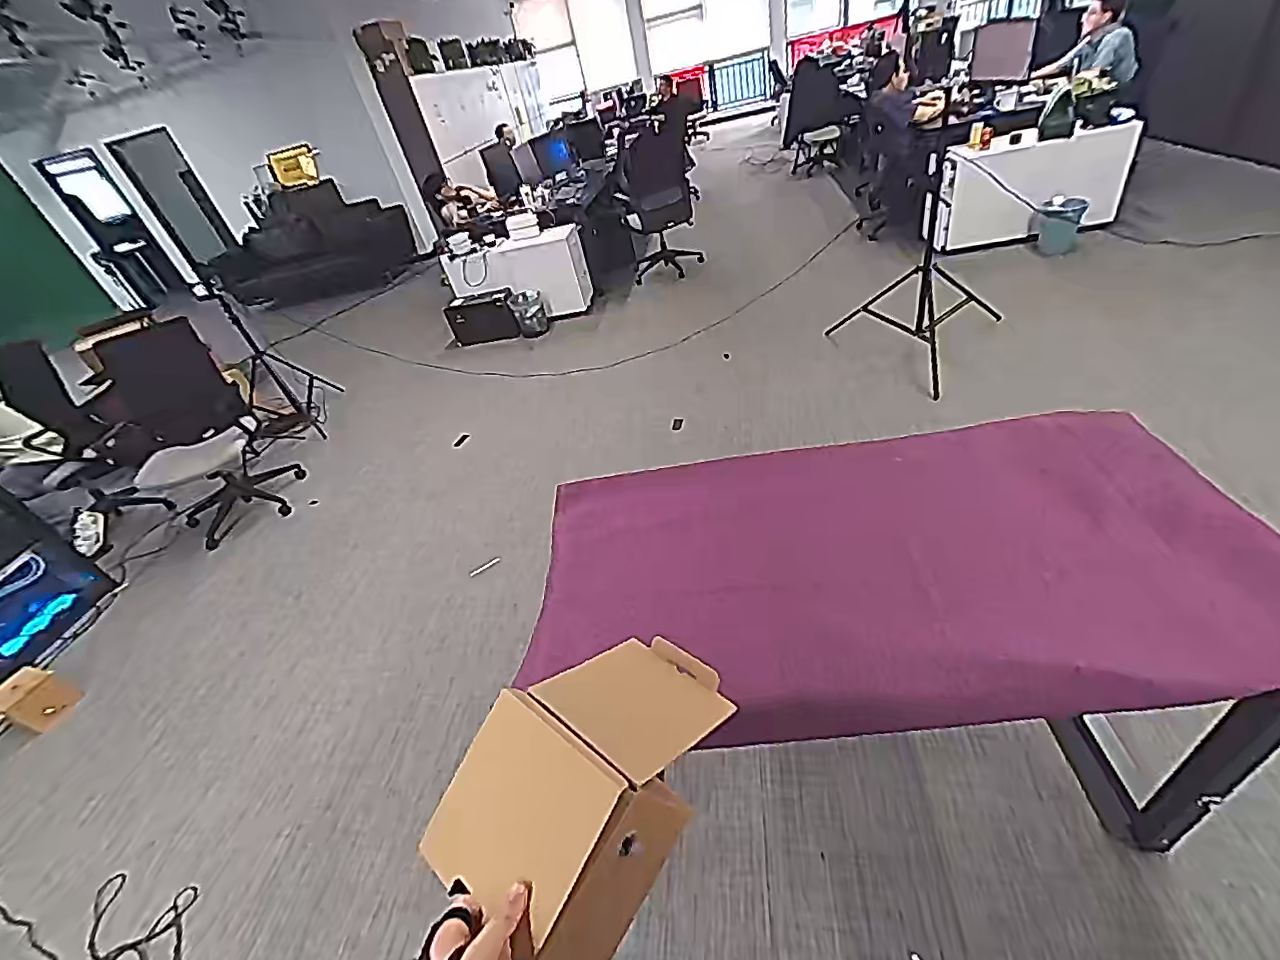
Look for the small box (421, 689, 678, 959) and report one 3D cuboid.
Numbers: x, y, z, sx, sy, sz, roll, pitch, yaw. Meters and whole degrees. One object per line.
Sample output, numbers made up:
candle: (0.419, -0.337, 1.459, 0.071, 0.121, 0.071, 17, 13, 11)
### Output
small box: (-0.079, 0.359, 0.566, 0.168, 0.176, 0.179, 22, 67, 38)
